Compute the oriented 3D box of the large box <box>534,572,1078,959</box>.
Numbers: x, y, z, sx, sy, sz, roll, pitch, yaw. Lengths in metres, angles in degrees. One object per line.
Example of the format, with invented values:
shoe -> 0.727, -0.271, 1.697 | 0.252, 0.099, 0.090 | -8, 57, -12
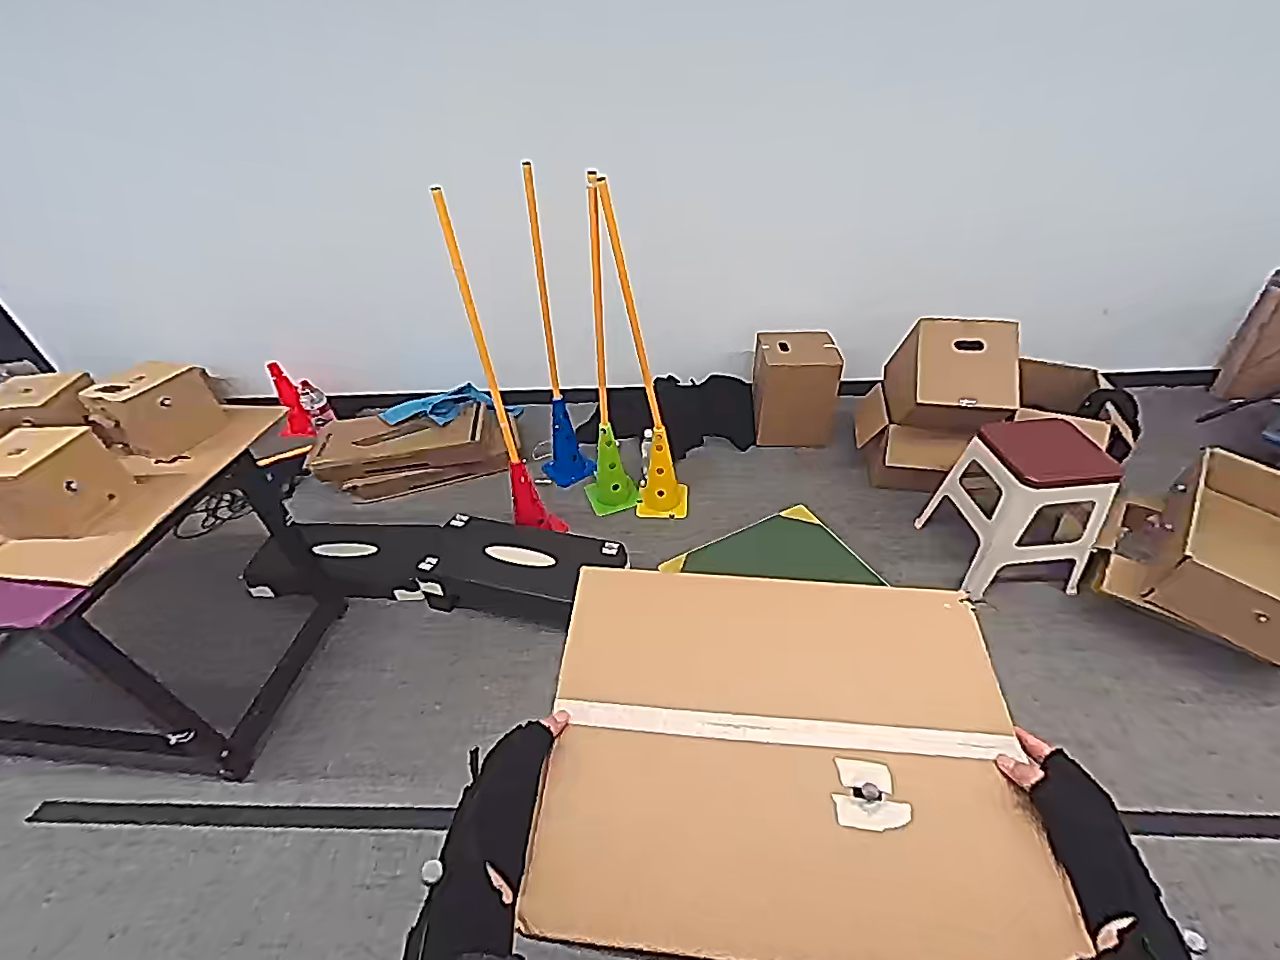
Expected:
large box -> 0.130, 0.326, 0.603 | 0.408, 0.320, 0.320 | 3, 49, 5
